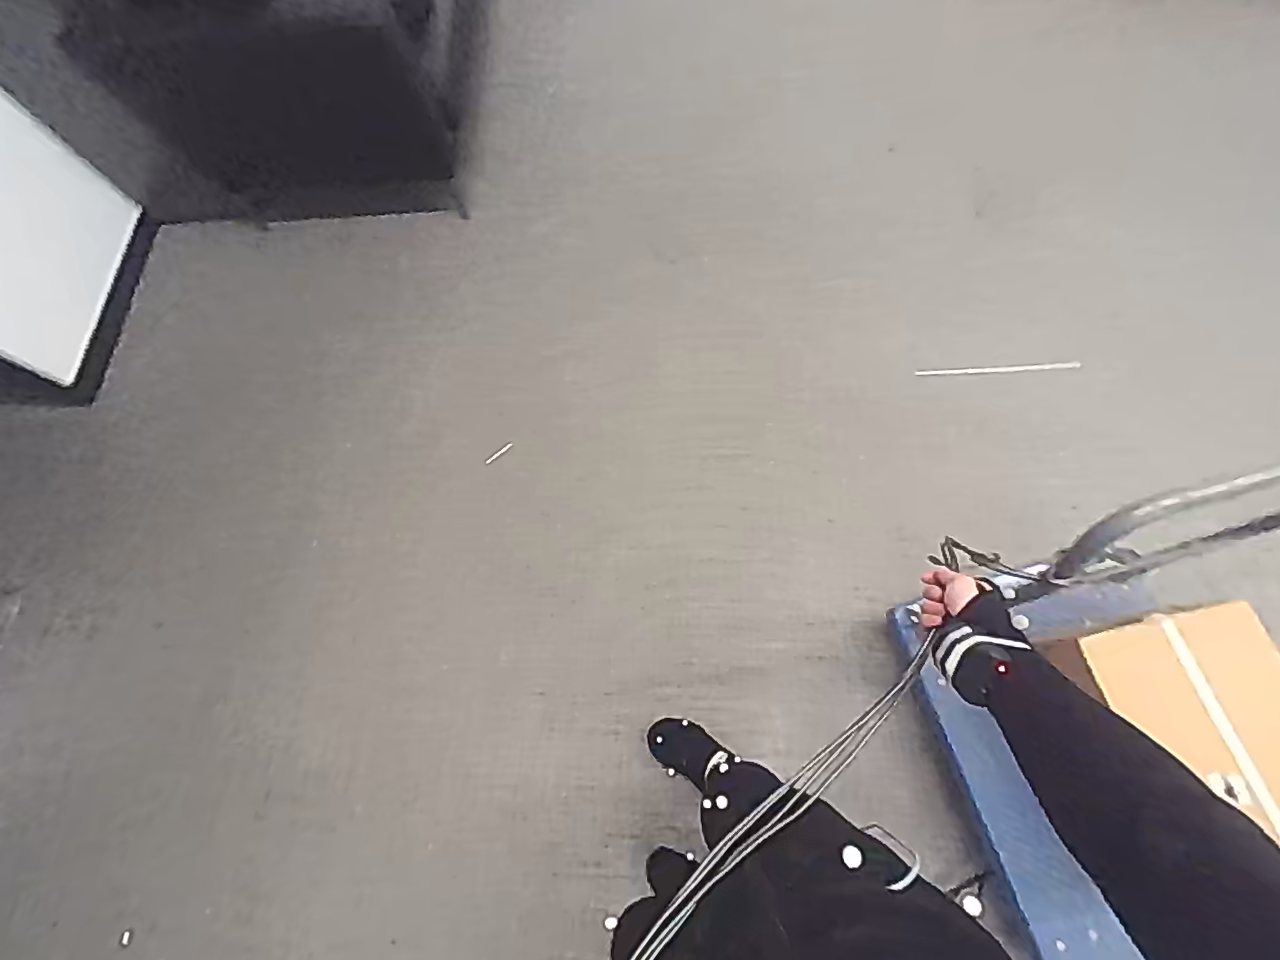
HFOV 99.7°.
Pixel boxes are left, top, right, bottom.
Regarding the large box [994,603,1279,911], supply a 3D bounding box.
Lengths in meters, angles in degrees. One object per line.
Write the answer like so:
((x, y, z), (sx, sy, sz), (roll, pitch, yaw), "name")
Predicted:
((0.977, 0.479, 1.018), (0.320, 0.320, 0.408), (-14, 70, 0), "large box")
